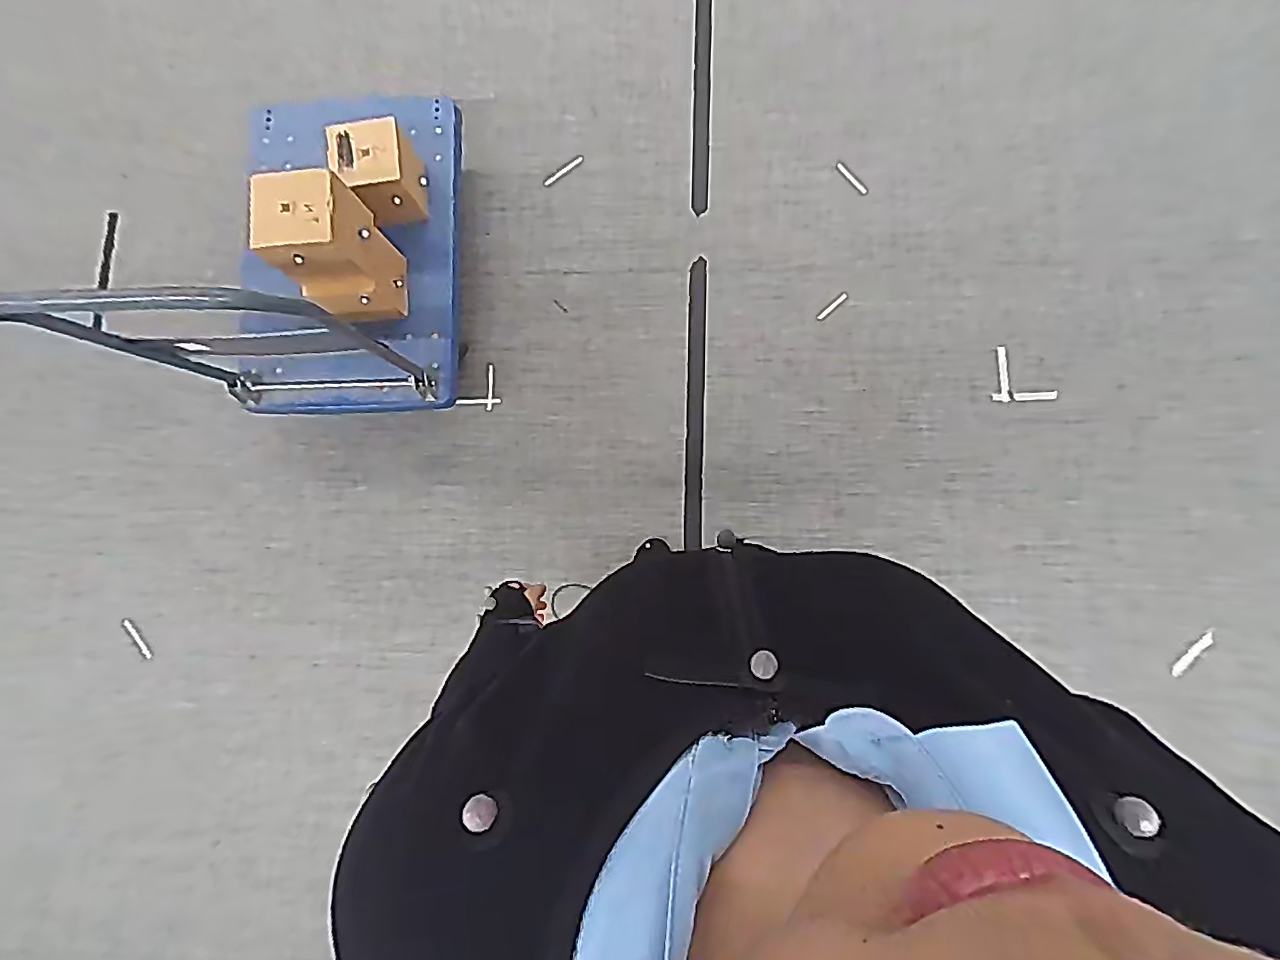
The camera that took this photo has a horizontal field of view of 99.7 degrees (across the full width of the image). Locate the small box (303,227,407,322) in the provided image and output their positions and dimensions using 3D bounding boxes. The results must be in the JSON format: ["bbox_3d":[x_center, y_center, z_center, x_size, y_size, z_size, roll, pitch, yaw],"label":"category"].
[{"bbox_3d":[-0.708,-0.508,1.354,0.179,0.176,0.168,-4,84,2],"label":"small box"}]

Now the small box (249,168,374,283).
[{"bbox_3d":[-0.716,-0.551,1.193,0.179,0.176,0.168,-4,84,2],"label":"small box"}]
